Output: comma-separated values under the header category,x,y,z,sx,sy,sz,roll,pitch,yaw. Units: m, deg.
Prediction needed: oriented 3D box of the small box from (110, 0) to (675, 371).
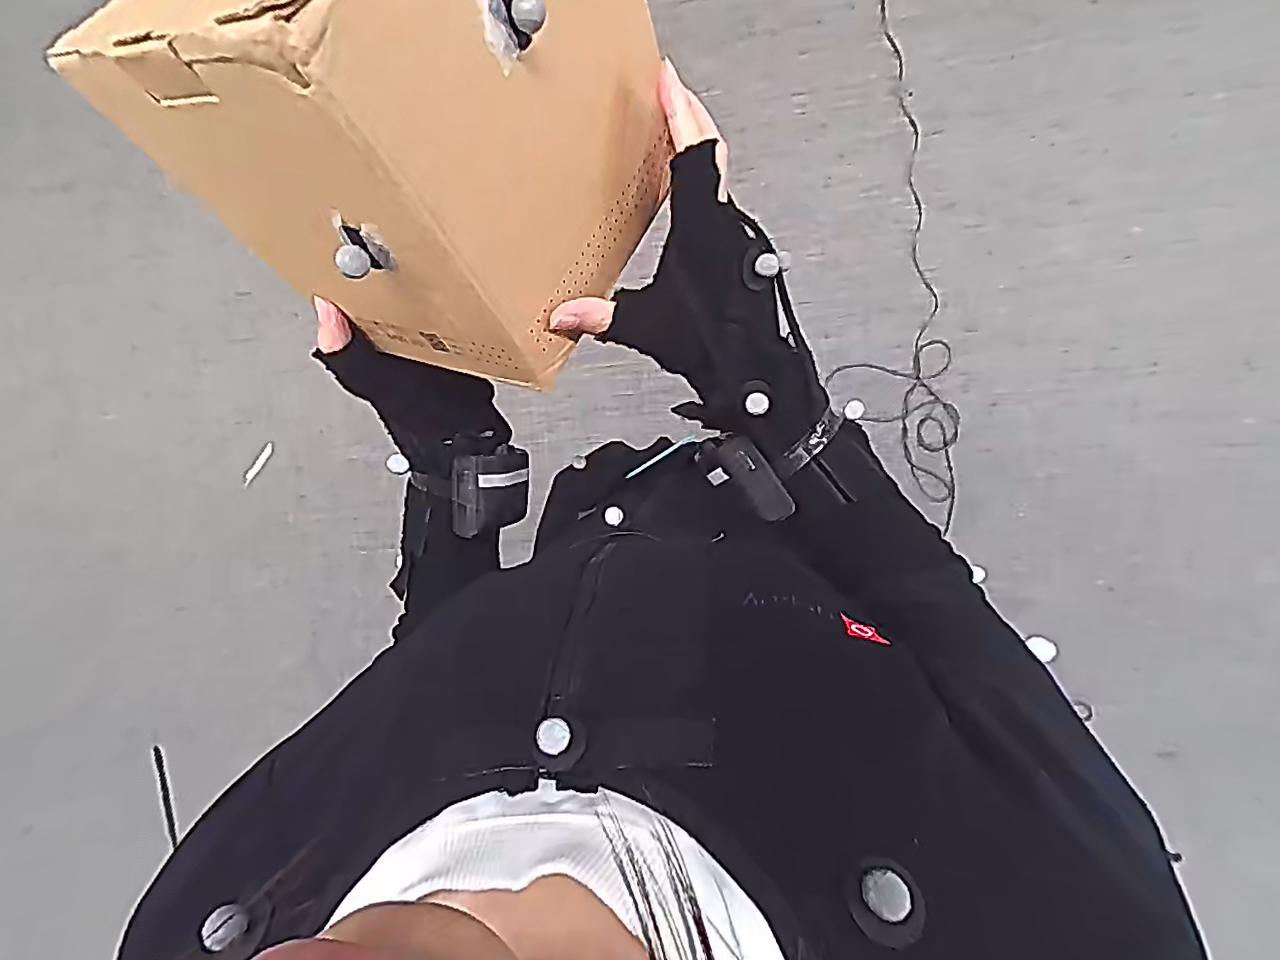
category,x,y,z,sx,sy,sz,roll,pitch,yaw
small box,-0.098,-0.184,0.287,0.168,0.176,0.179,19,70,27
